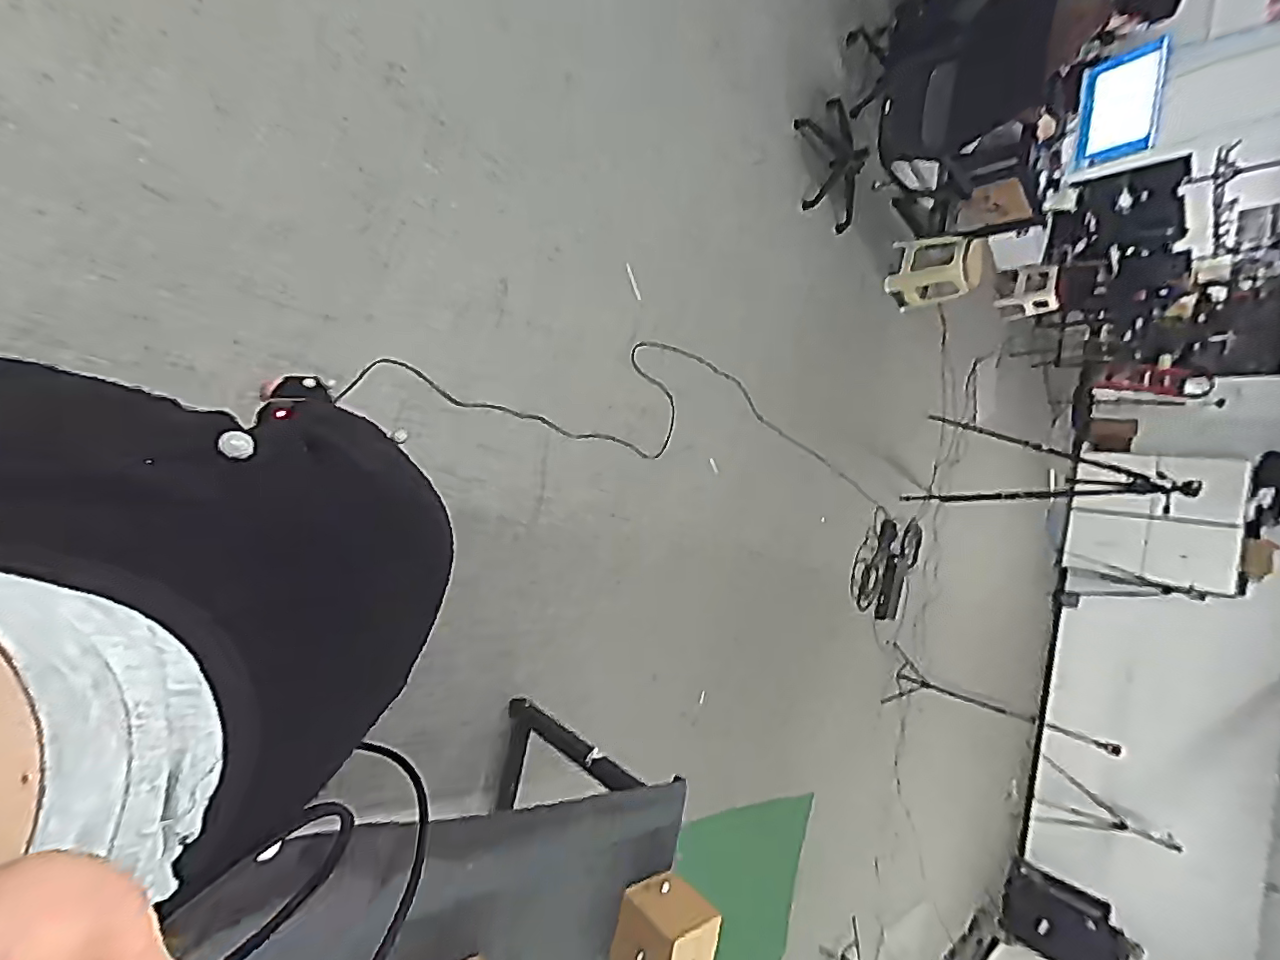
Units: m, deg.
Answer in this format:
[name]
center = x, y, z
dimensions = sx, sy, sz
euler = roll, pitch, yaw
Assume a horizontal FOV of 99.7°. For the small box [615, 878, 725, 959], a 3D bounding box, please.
[small box]
center = 0.064, 1.056, 1.218
dimensions = 0.168, 0.176, 0.179
euler = 16, 84, -43
